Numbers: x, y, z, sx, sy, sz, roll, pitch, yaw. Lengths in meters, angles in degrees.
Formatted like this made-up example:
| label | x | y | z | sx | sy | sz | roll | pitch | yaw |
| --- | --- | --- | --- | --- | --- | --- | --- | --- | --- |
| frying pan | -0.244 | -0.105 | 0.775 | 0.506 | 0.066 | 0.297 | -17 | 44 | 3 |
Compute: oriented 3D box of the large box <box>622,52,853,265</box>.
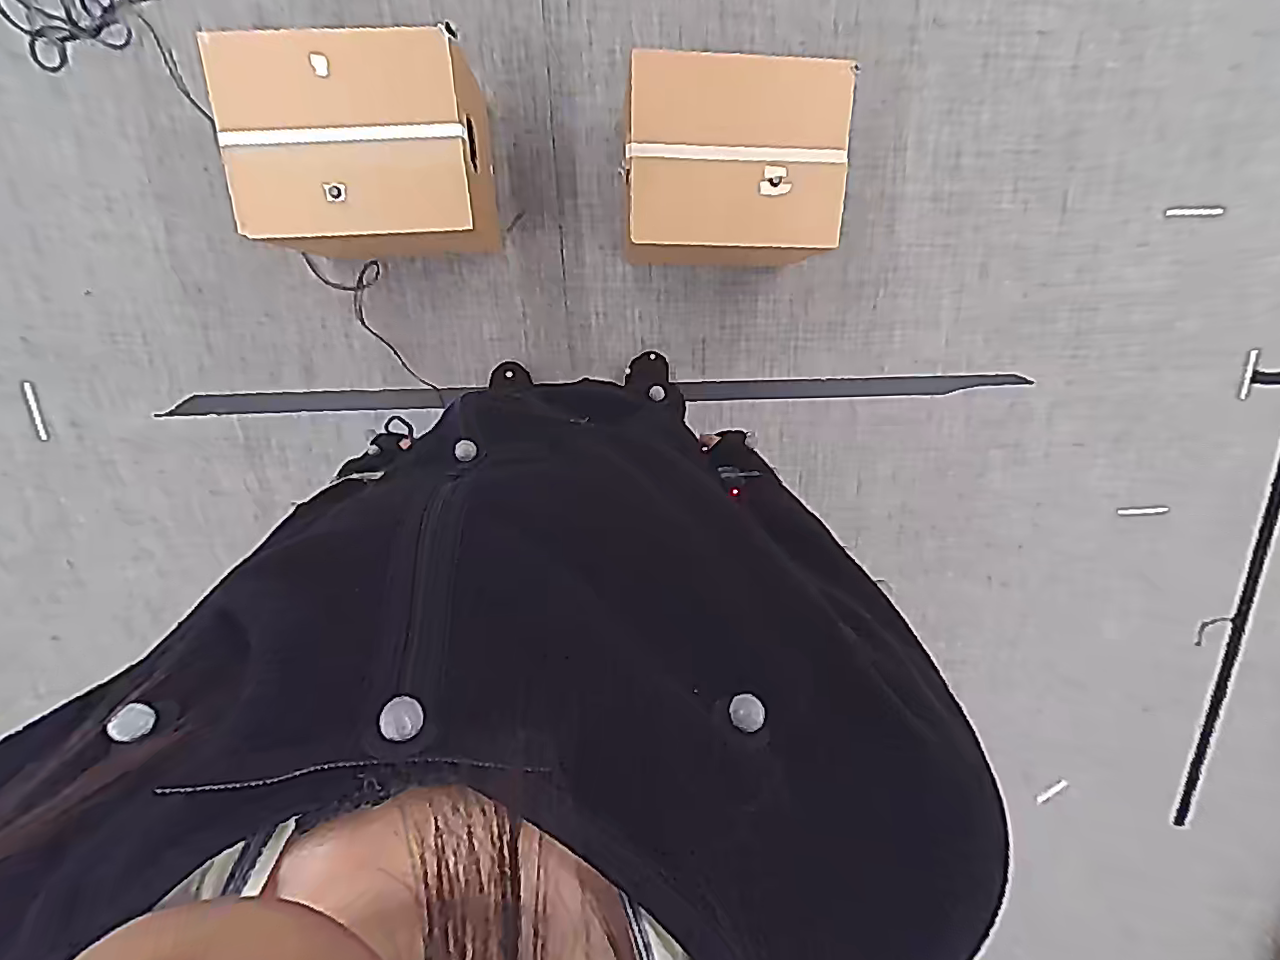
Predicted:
| label | x | y | z | sx | sy | sz | roll | pitch | yaw |
| --- | --- | --- | --- | --- | --- | --- | --- | --- | --- |
| large box | 0.172 | -0.638 | 1.138 | 0.408 | 0.320 | 0.320 | 0 | 106 | -5 |
